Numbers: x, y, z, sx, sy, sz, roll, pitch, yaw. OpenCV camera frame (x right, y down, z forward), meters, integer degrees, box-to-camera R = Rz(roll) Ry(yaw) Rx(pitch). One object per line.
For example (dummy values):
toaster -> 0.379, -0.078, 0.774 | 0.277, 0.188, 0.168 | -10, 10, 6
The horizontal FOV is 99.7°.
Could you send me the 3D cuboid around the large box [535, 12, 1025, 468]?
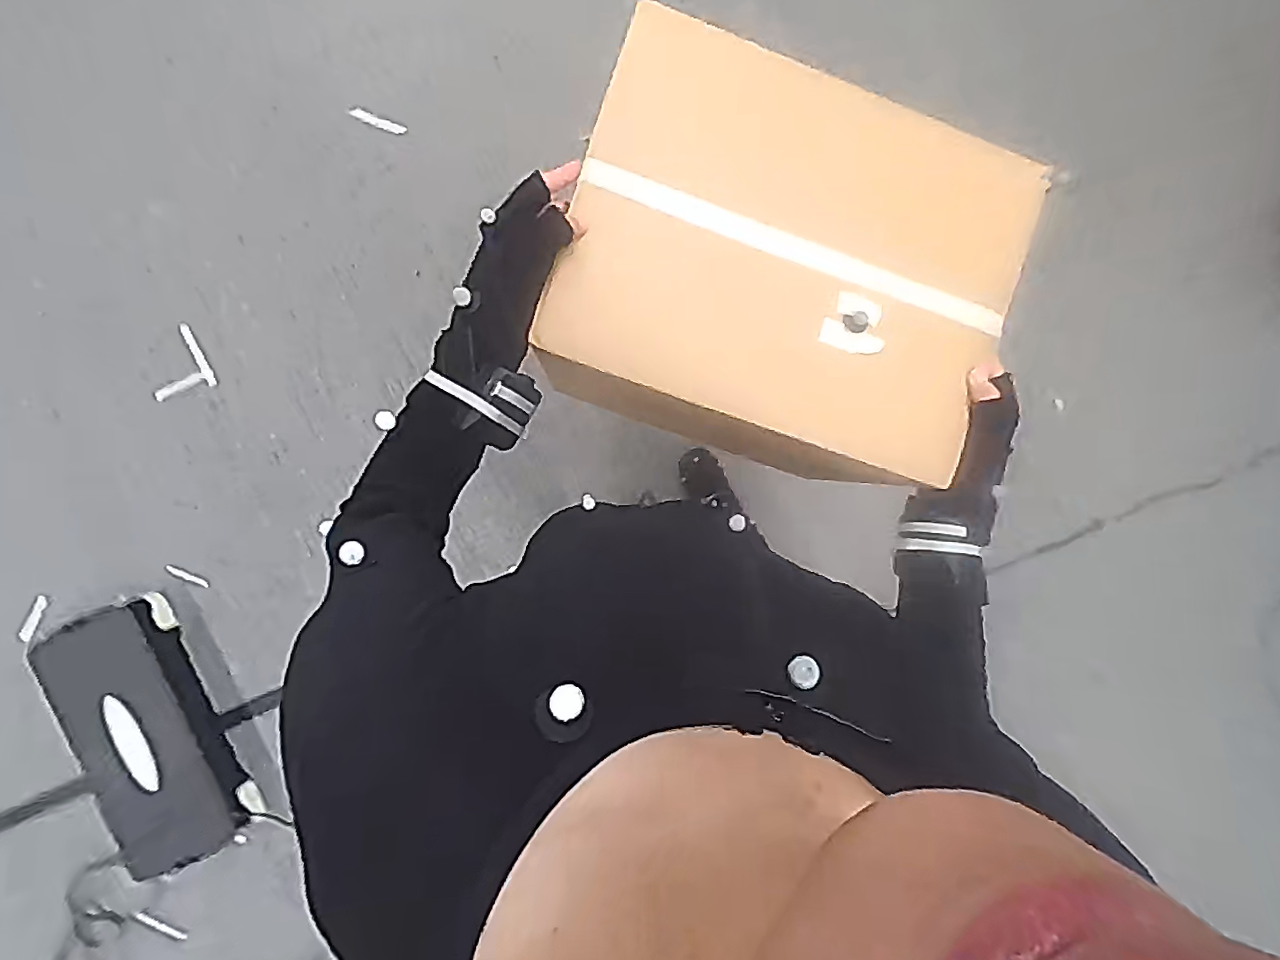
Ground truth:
large box -> 0.120, -0.216, 0.638 | 0.408, 0.320, 0.320 | 17, 90, -6
